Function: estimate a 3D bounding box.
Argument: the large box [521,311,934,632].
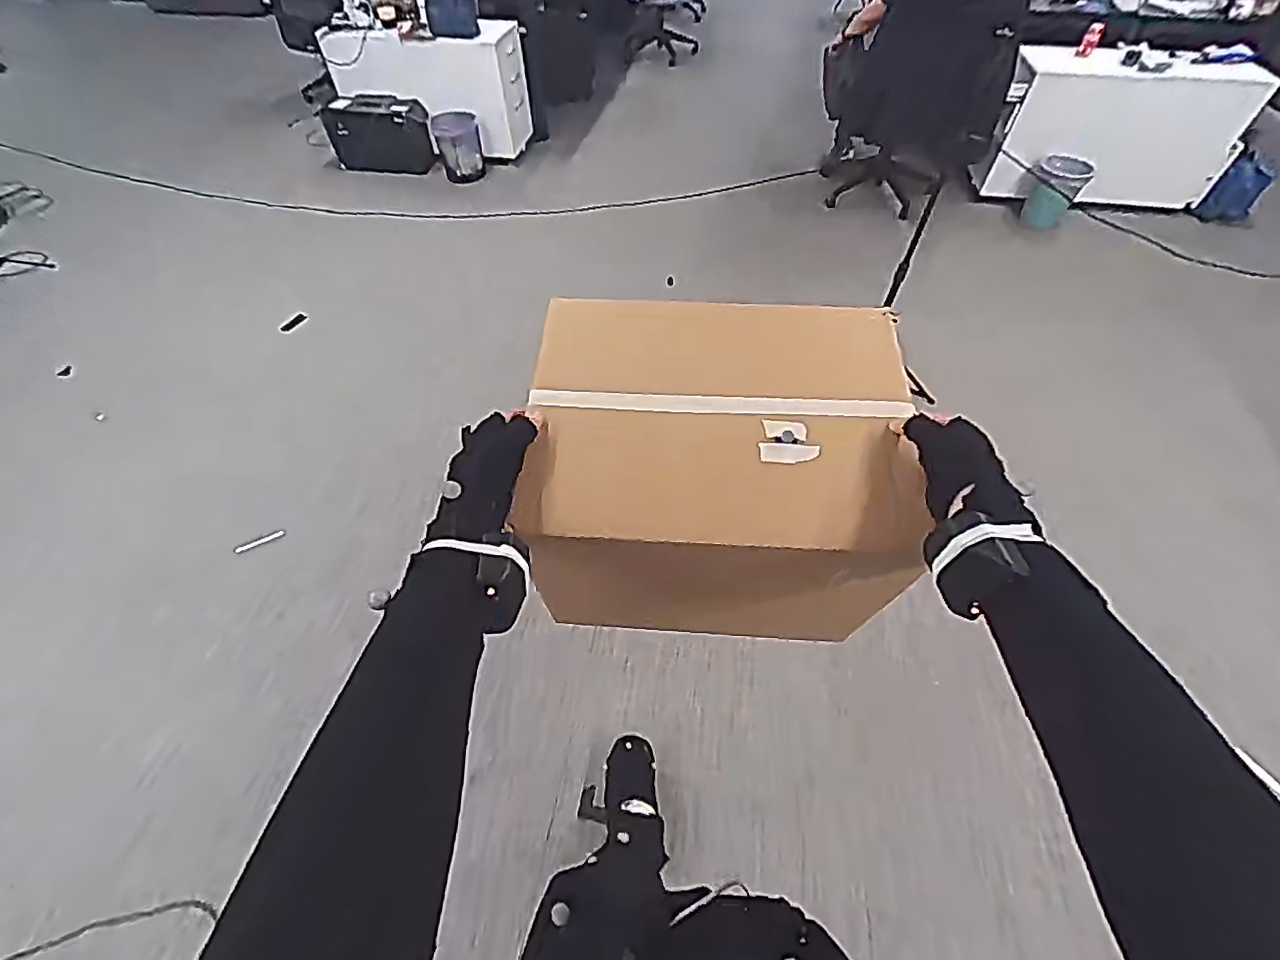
[{"bbox_3d":[0.089,0.003,0.717,0.408,0.320,0.320,3,60,3],"label":"large box"}]
